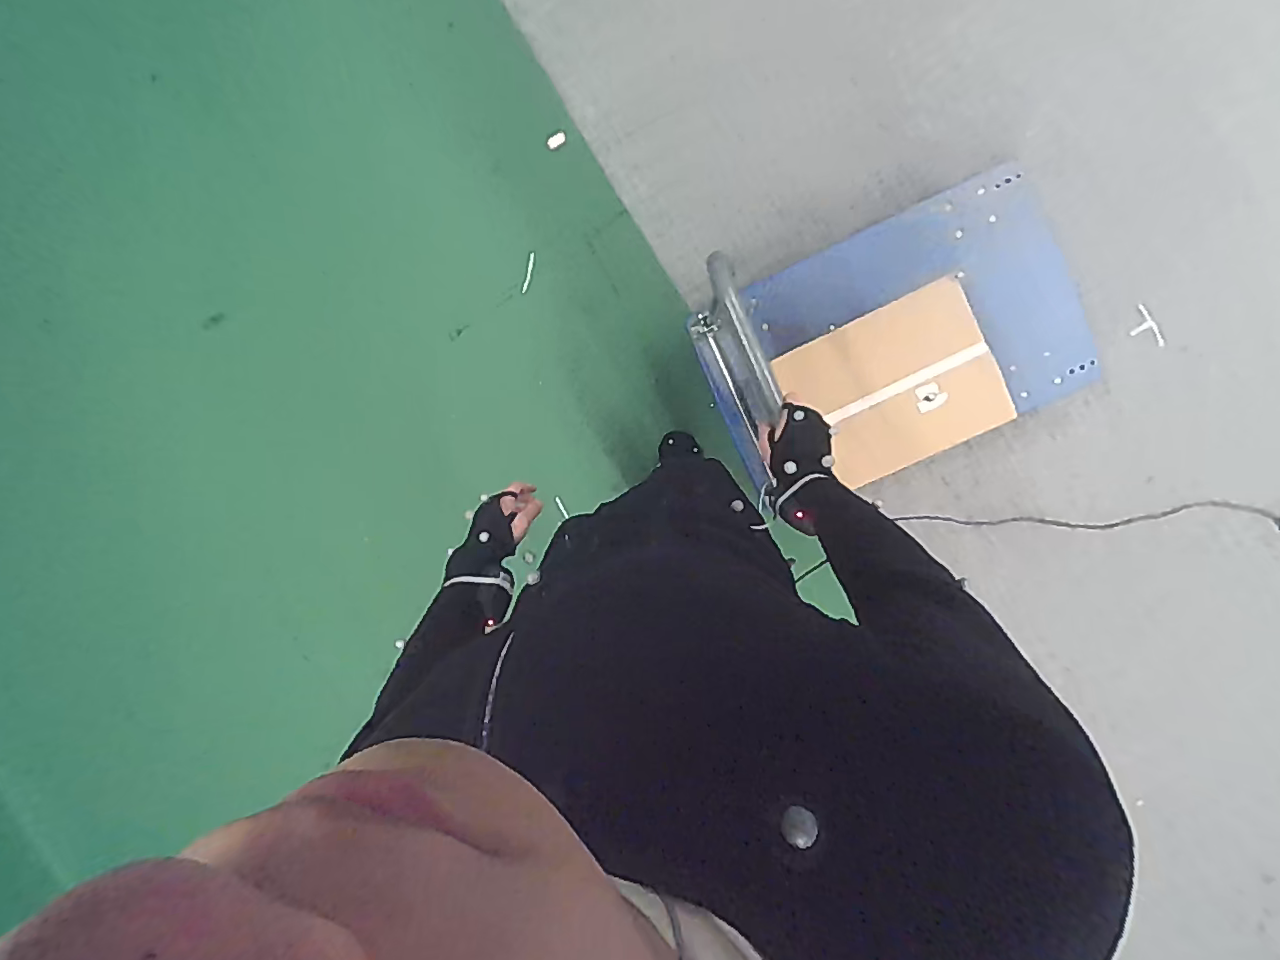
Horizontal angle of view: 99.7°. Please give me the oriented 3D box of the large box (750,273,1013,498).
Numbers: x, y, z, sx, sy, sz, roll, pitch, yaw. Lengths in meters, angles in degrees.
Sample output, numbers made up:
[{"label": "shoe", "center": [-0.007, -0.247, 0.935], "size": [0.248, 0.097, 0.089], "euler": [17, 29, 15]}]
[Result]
[{"label": "large box", "center": [0.508, -0.196, 1.228], "size": [0.408, 0.320, 0.320], "euler": [-25, 94, 7]}]
